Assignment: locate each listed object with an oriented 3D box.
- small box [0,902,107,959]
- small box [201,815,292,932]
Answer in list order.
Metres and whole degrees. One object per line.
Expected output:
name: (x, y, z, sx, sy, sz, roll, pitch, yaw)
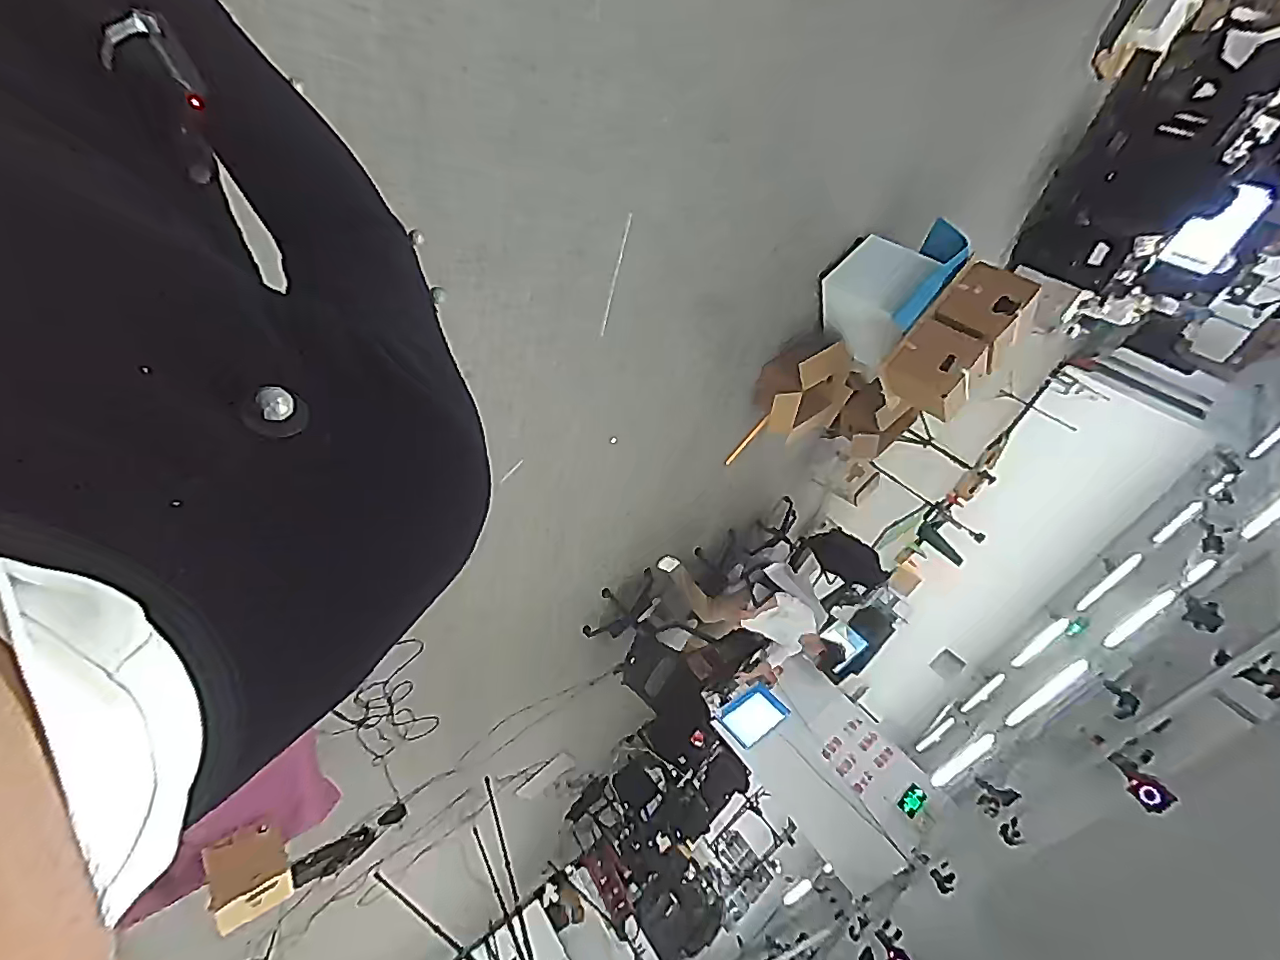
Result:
small box: (-1.322, 1.098, 1.206, 0.168, 0.176, 0.179, -16, 137, -41)
small box: (-1.059, 1.050, 1.459, 0.168, 0.176, 0.179, -13, 135, -41)
